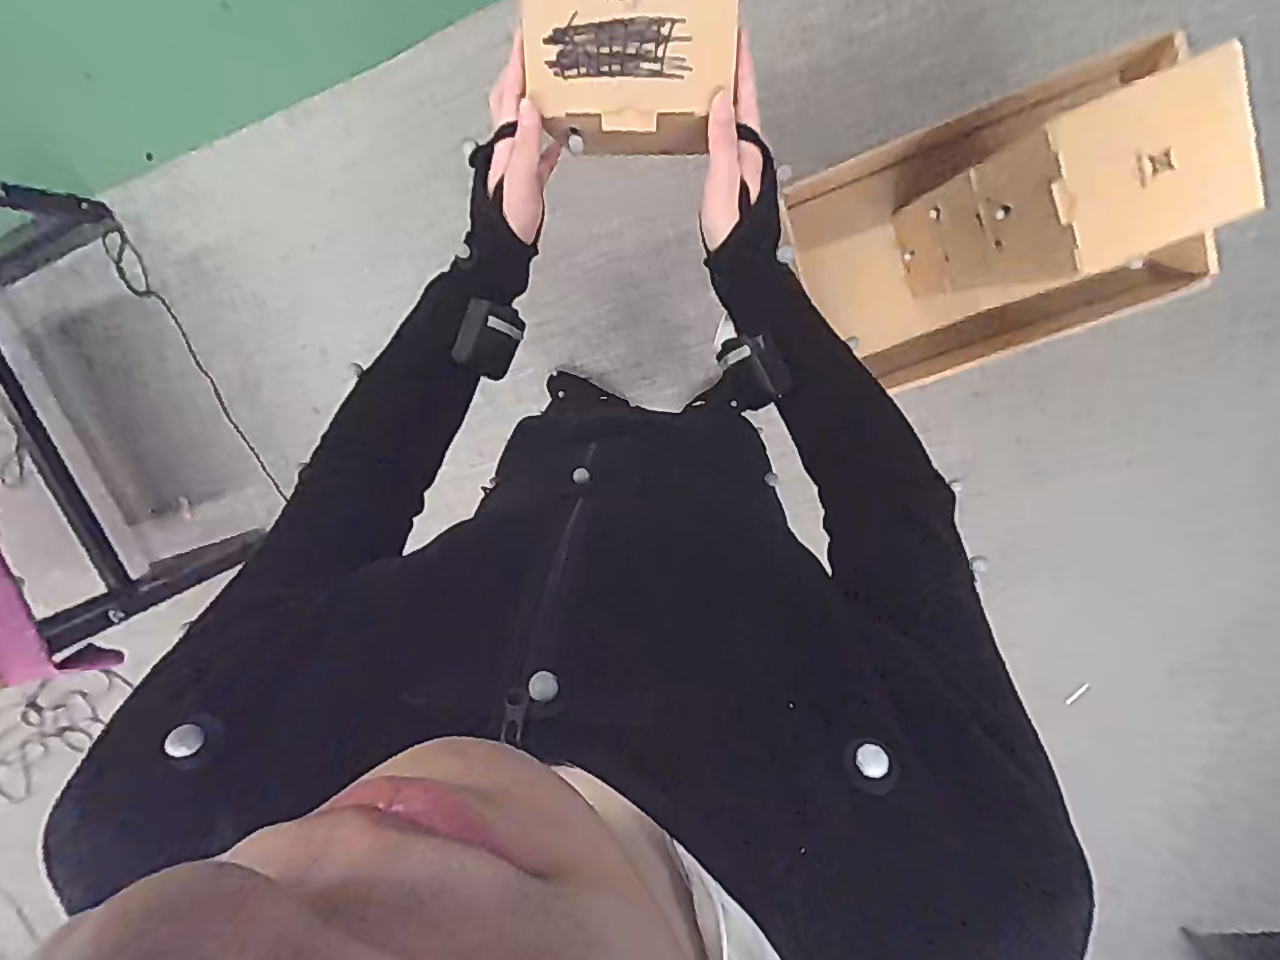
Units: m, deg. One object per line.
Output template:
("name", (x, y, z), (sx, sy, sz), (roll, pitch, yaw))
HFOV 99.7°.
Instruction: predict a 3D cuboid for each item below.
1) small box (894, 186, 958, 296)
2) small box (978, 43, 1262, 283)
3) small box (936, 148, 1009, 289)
("small box", (0.576, -0.433, 0.943), (0.179, 0.176, 0.168), (-18, 102, 10))
("small box", (0.540, -0.346, 0.631), (0.179, 0.176, 0.168), (-20, 102, 11))
("small box", (0.559, -0.392, 0.786), (0.179, 0.176, 0.168), (-20, 102, 10))
